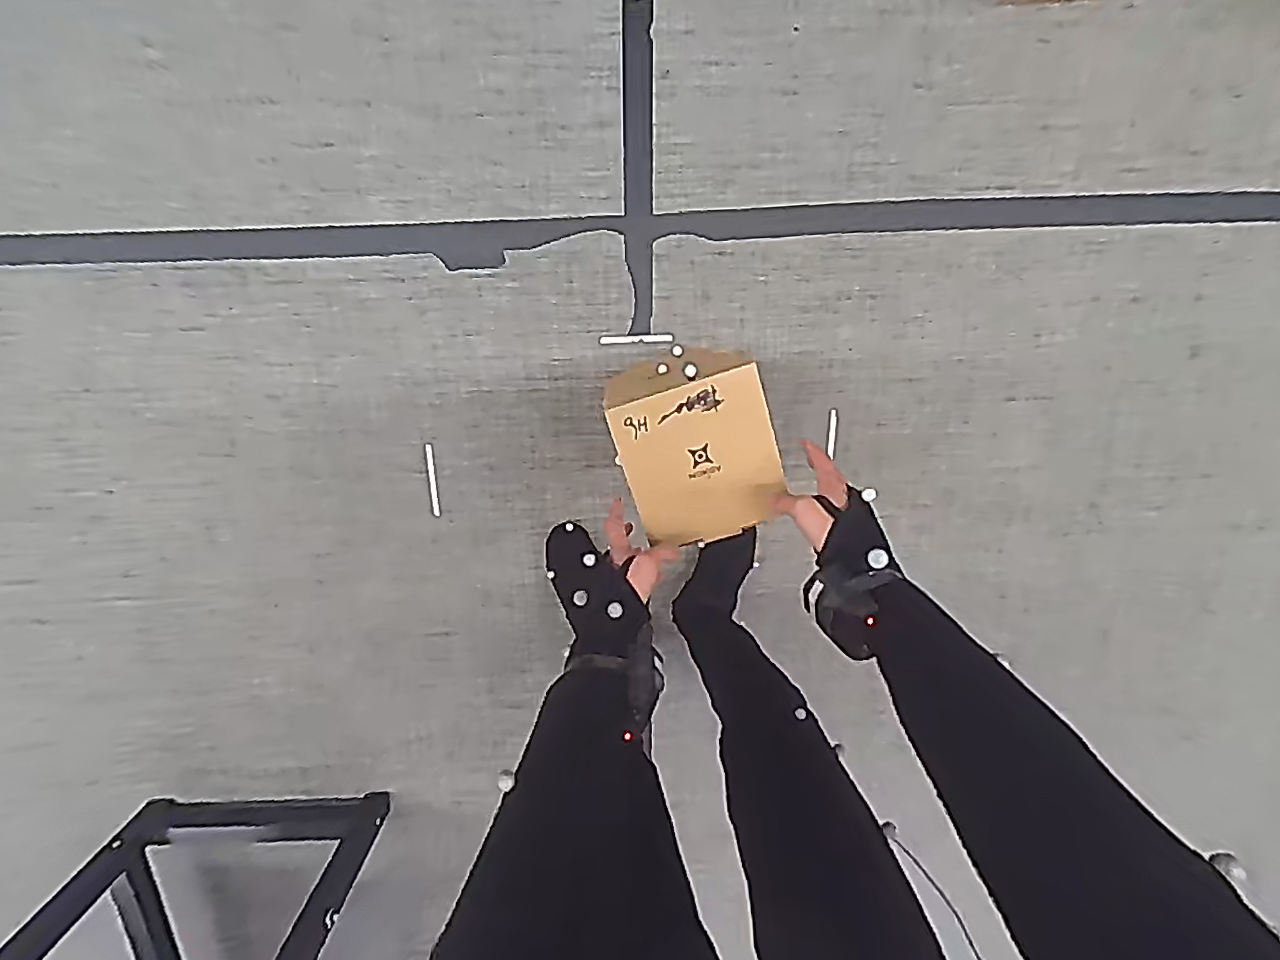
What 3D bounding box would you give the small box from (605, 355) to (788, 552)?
[{"bbox_3d":[0.063,-0.042,0.662,0.168,0.176,0.179,-17,107,3],"label":"small box"}]
